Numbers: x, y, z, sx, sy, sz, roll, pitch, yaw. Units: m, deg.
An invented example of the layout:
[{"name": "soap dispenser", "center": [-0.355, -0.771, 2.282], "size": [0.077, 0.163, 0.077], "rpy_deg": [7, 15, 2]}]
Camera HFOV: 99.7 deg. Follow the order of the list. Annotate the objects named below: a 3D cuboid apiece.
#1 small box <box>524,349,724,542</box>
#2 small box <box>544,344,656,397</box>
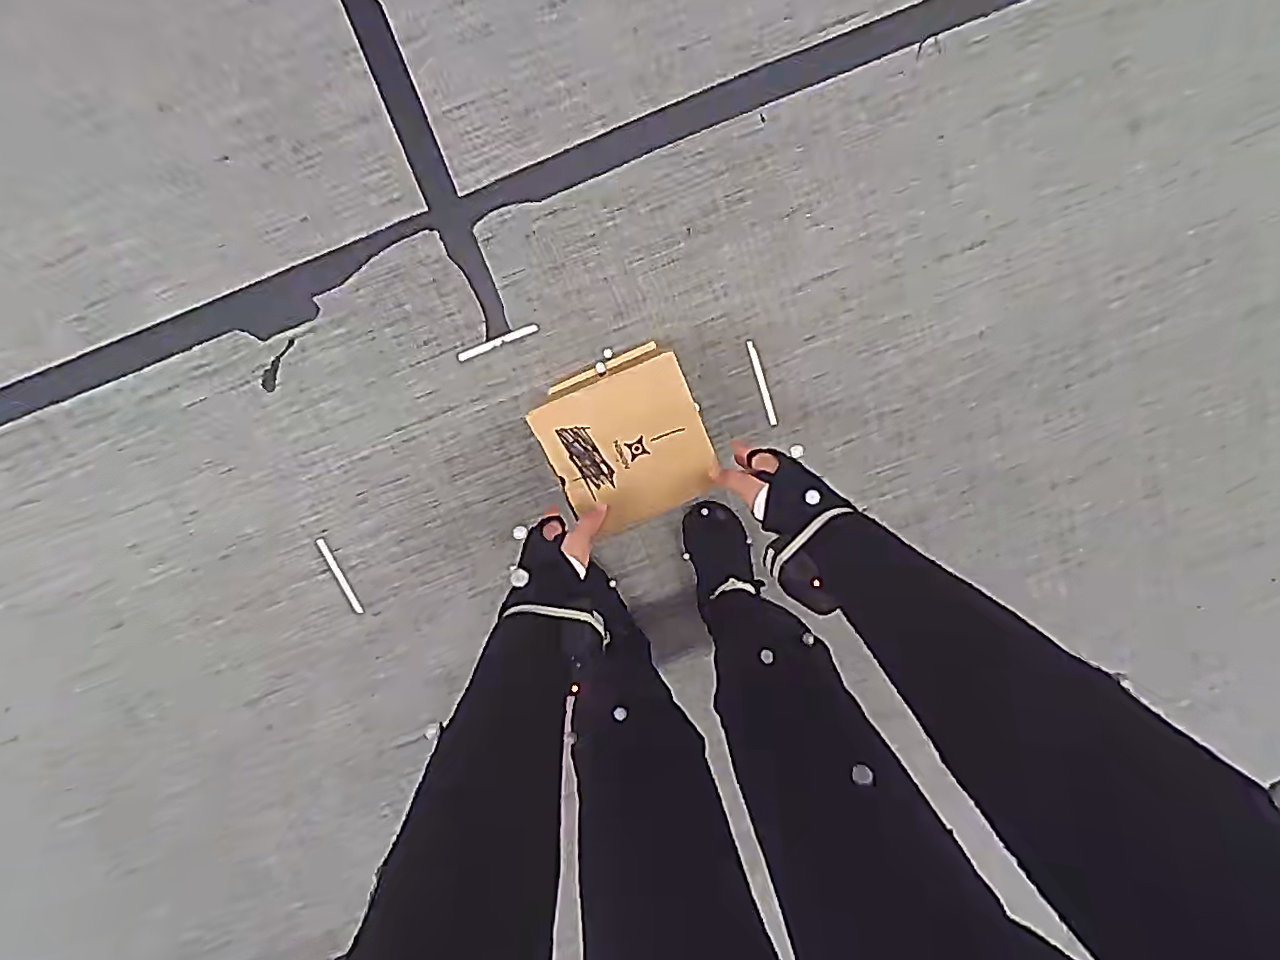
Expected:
[{"name": "small box", "center": [-0.020, -0.051, 0.666], "size": [0.179, 0.176, 0.168], "rpy_deg": [-24, 105, 0]}, {"name": "small box", "center": [-0.030, -0.097, 0.825], "size": [0.168, 0.176, 0.179], "rpy_deg": [-24, 106, 1]}]
